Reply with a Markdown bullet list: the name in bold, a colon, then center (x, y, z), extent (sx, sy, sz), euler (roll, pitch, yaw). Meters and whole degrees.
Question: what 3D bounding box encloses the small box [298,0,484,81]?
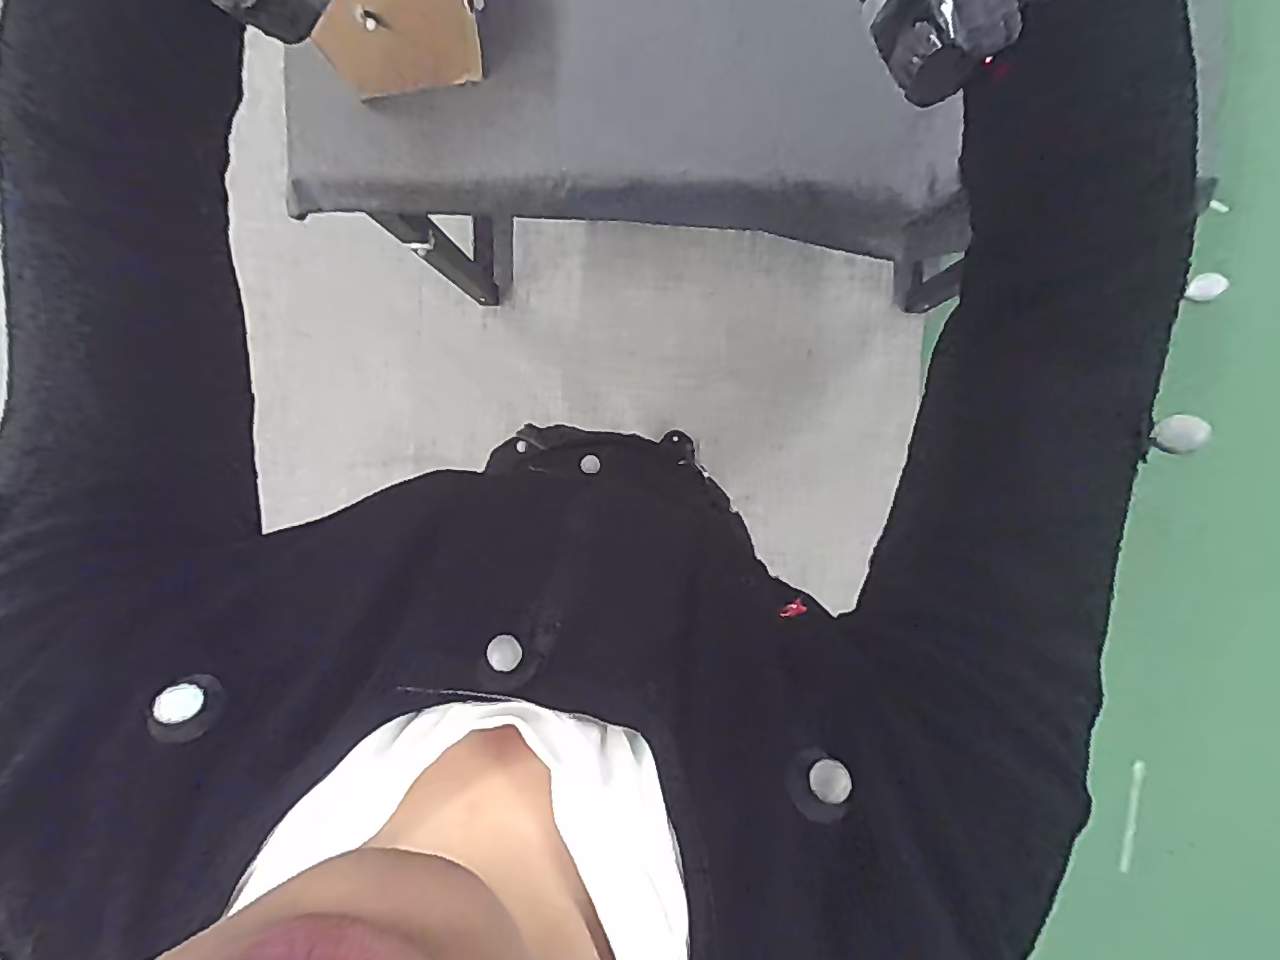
- **small box**: center (-0.300, -0.603, 0.625), extent (0.179, 0.176, 0.168), euler (-8, 94, 1)
